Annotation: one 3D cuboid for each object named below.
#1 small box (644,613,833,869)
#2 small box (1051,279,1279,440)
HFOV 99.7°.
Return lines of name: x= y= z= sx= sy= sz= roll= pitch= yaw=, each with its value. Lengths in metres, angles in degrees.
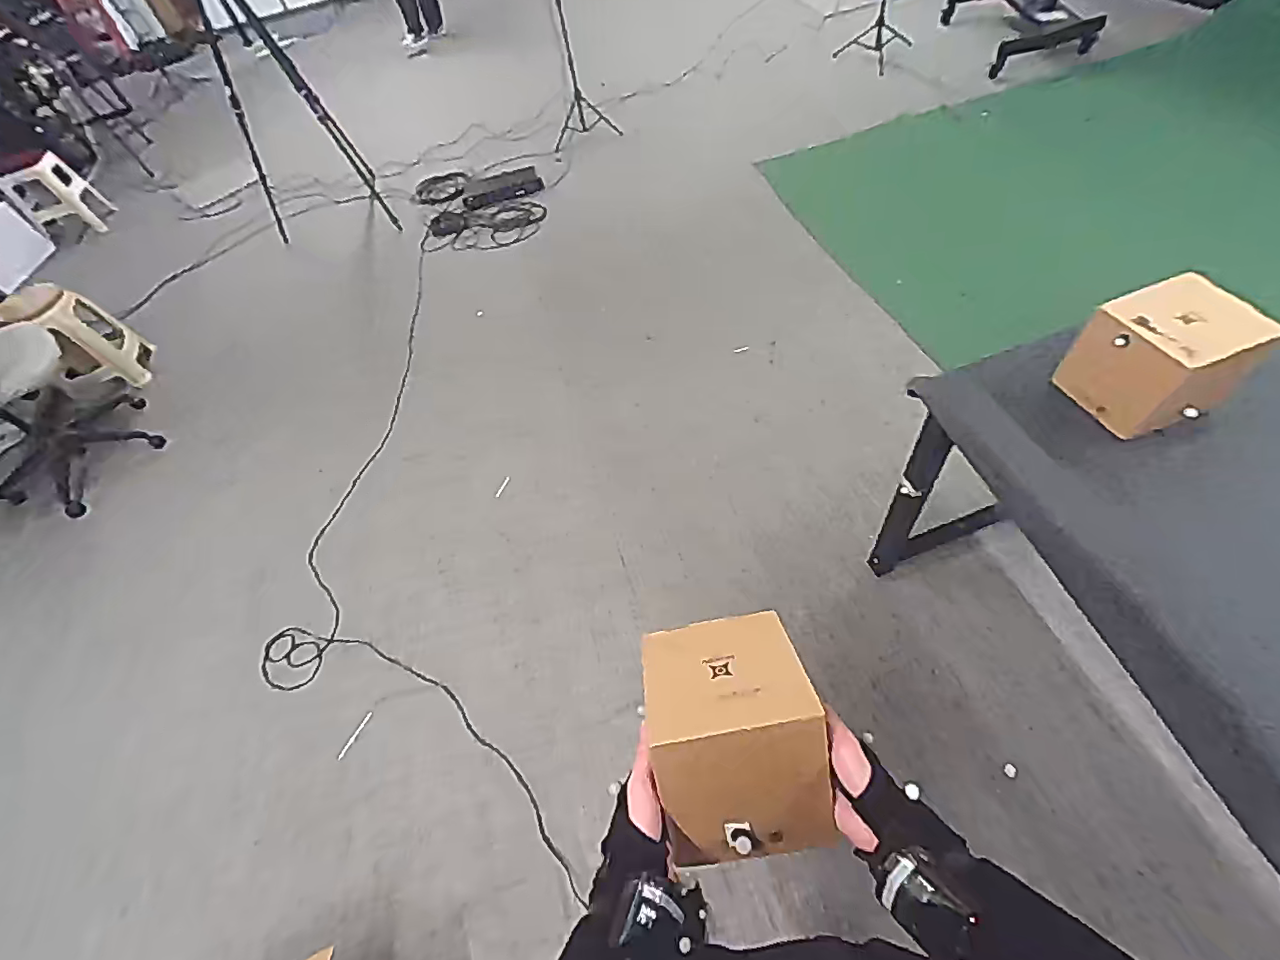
small box: x=0.099 y=0.274 z=0.591 sx=0.168 sy=0.176 sz=0.179 roll=-10 pitch=19 yaw=2
small box: x=0.847 y=-0.195 z=0.897 sx=0.179 sy=0.176 sz=0.168 roll=-19 pitch=54 yaw=-5
